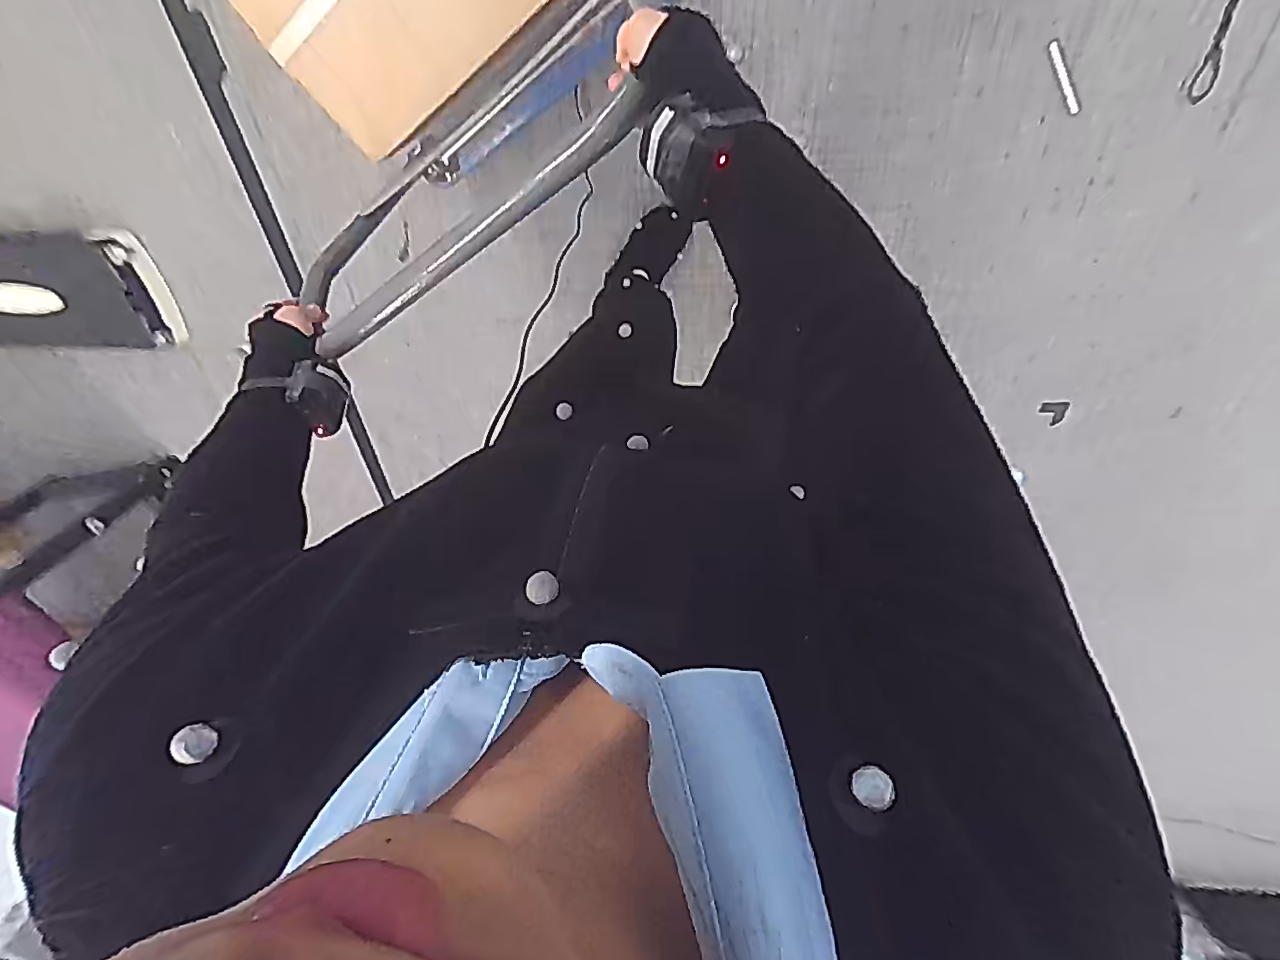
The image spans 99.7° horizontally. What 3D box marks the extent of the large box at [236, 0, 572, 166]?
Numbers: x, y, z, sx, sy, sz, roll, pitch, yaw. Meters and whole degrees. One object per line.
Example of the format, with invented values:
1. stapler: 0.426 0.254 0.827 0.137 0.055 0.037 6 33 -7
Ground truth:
1. large box: -0.295 -0.732 0.742 0.408 0.320 0.320 -26 128 24
